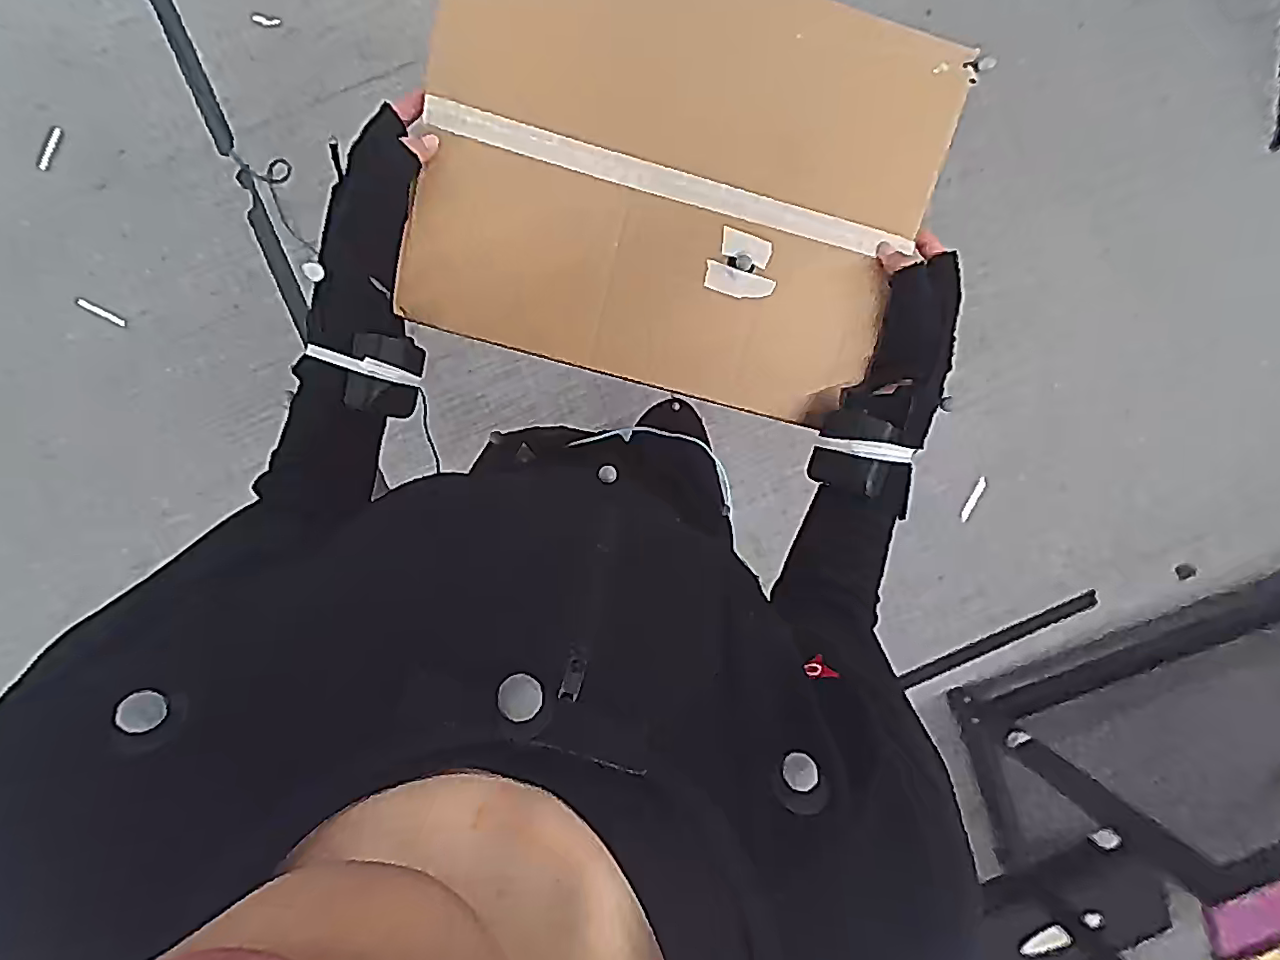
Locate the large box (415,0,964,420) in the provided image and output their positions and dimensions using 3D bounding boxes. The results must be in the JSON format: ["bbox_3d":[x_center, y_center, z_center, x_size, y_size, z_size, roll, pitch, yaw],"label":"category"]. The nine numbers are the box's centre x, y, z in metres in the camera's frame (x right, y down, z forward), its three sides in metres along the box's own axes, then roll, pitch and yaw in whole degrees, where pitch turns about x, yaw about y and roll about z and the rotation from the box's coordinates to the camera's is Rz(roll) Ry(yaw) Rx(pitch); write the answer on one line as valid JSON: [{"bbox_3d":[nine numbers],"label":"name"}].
[{"bbox_3d":[0.027,-0.274,0.591,0.408,0.320,0.320,14,102,-6],"label":"large box"}]
